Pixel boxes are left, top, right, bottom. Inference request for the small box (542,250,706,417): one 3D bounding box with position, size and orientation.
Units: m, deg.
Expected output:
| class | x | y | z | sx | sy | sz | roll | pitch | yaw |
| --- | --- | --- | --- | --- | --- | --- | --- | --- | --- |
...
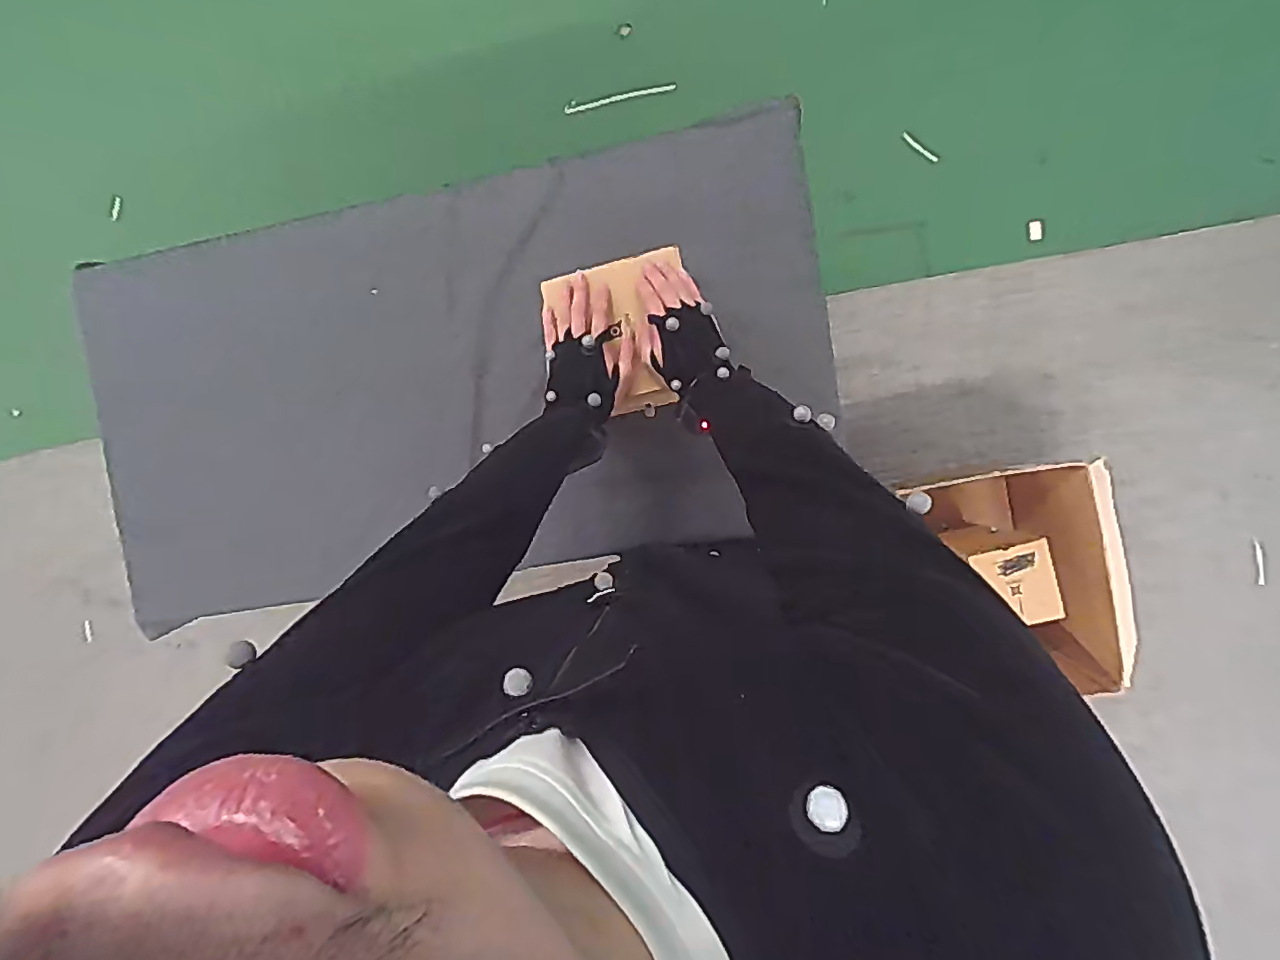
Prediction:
| class | x | y | z | sx | sy | sz | roll | pitch | yaw |
| --- | --- | --- | --- | --- | --- | --- | --- | --- | --- |
| small box | -0.014 | -0.190 | 0.751 | 0.179 | 0.176 | 0.168 | -15 | 92 | 7 |
